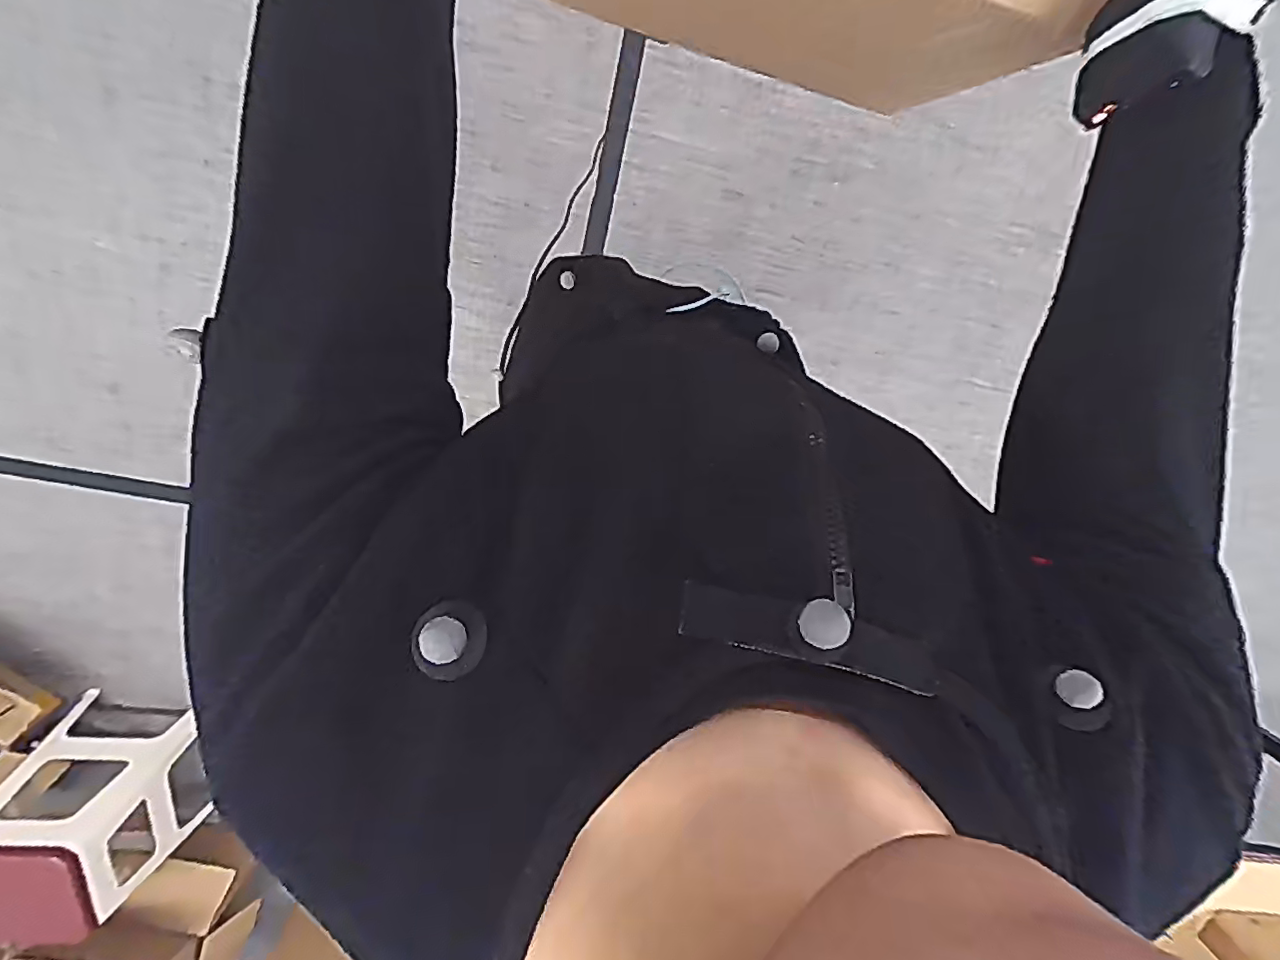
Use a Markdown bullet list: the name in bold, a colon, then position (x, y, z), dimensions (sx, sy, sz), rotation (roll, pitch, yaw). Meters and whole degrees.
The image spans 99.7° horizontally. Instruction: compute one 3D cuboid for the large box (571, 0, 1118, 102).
- **large box**: position (0.145, -0.537, 0.400), dimensions (0.408, 0.320, 0.320), rotation (11, 116, -10)
